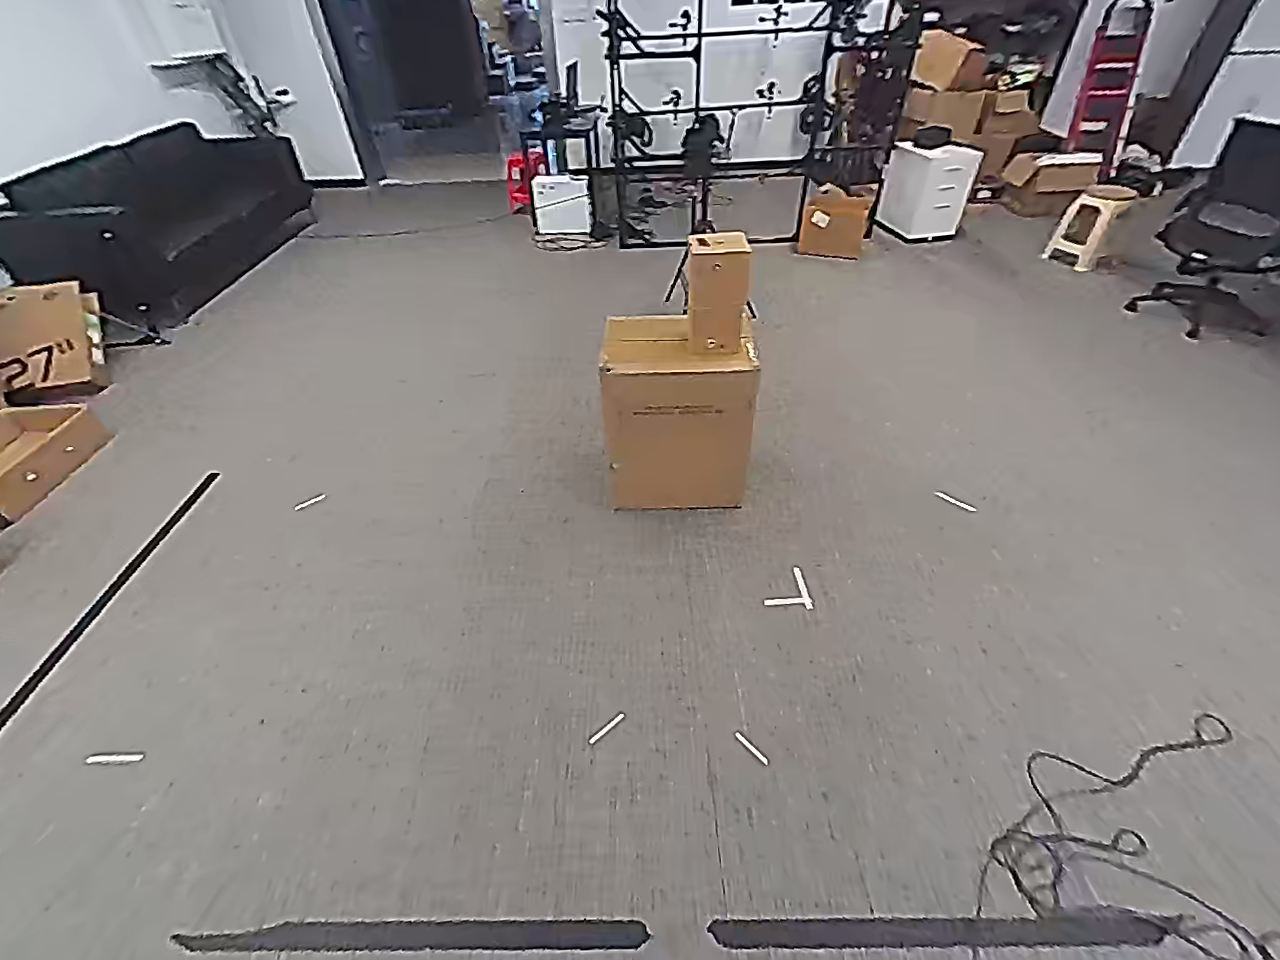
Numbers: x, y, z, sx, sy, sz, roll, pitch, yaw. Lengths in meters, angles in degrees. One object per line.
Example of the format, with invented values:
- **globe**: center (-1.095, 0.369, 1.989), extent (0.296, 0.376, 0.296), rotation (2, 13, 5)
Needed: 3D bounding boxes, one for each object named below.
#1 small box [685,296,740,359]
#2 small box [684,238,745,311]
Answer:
- **small box**: center (0.238, -0.524, 1.817), extent (0.168, 0.176, 0.179), rotation (-3, 43, 3)
- **small box**: center (0.232, -0.646, 1.706), extent (0.179, 0.176, 0.168), rotation (-3, 42, 2)
